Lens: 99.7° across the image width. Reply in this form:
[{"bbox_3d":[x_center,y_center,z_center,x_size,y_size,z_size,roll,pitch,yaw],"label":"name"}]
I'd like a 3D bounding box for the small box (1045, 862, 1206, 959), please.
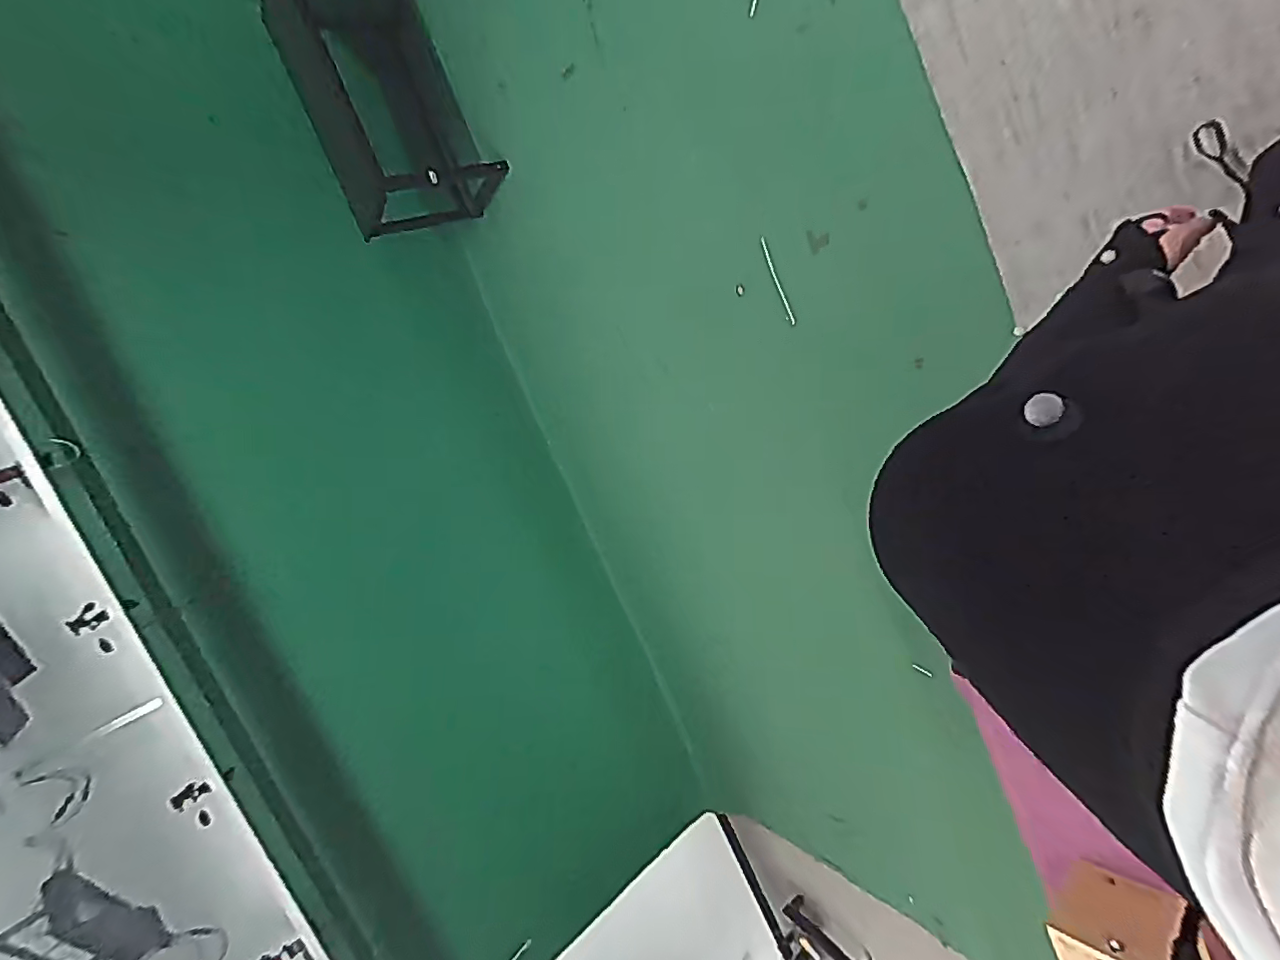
[{"bbox_3d":[0.881,0.853,0.974,0.168,0.176,0.179,-15,101,58],"label":"small box"}]
